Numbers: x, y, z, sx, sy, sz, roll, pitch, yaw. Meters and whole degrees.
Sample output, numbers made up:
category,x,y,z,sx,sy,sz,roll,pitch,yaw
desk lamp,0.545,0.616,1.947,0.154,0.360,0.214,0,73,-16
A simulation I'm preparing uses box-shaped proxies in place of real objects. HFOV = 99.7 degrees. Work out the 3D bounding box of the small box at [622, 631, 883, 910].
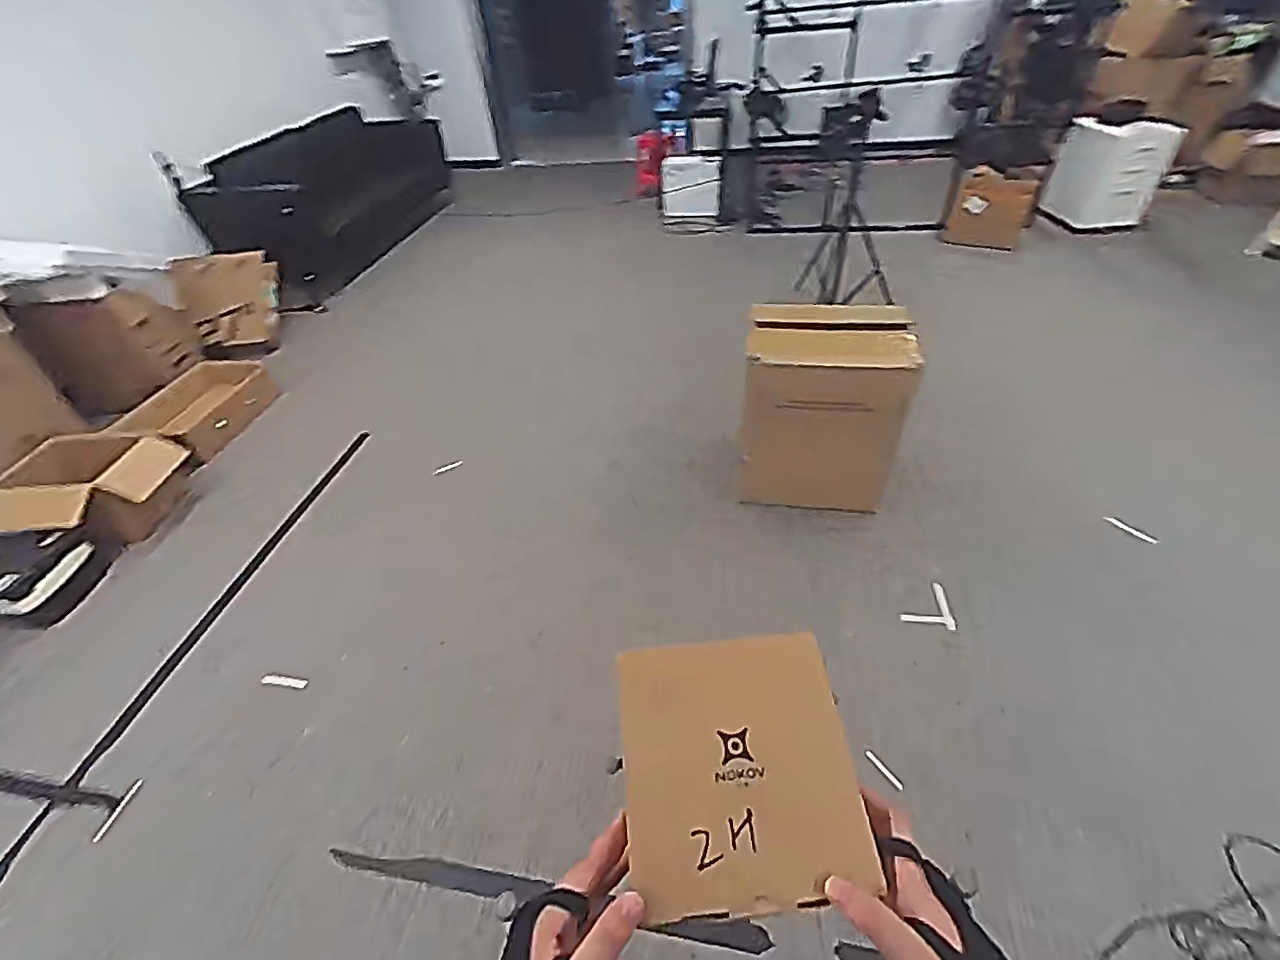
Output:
category,x,y,z,sx,sy,sz,roll,pitch,yaw
small box,0.070,0.247,0.459,0.168,0.176,0.179,-4,54,-2
